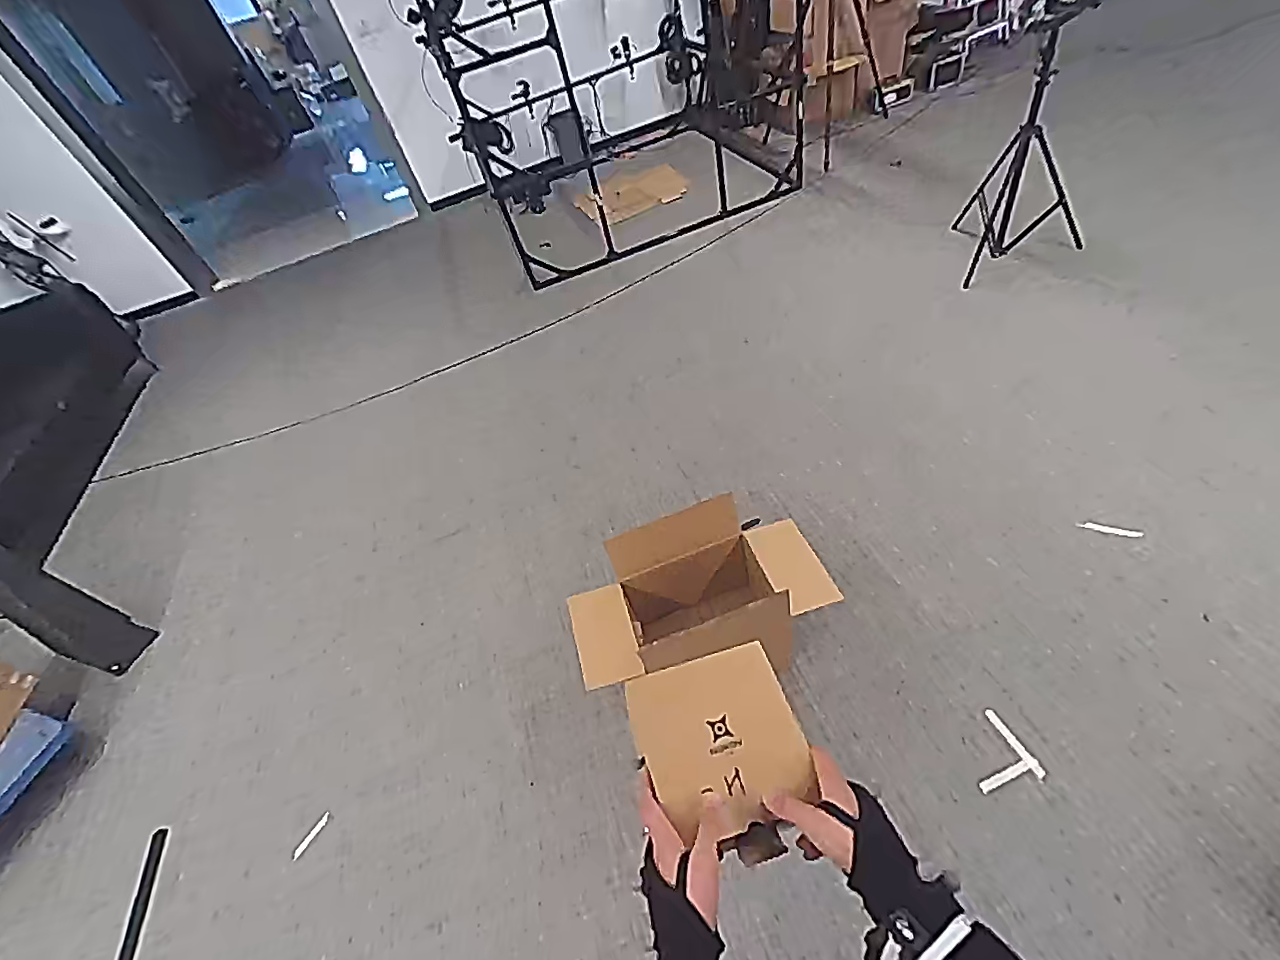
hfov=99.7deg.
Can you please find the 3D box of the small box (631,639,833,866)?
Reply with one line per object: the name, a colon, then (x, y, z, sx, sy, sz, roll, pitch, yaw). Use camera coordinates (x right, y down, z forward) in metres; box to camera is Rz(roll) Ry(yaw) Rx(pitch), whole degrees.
small box: (0.090, 0.318, 0.629, 0.168, 0.176, 0.179, -14, 52, -9)
